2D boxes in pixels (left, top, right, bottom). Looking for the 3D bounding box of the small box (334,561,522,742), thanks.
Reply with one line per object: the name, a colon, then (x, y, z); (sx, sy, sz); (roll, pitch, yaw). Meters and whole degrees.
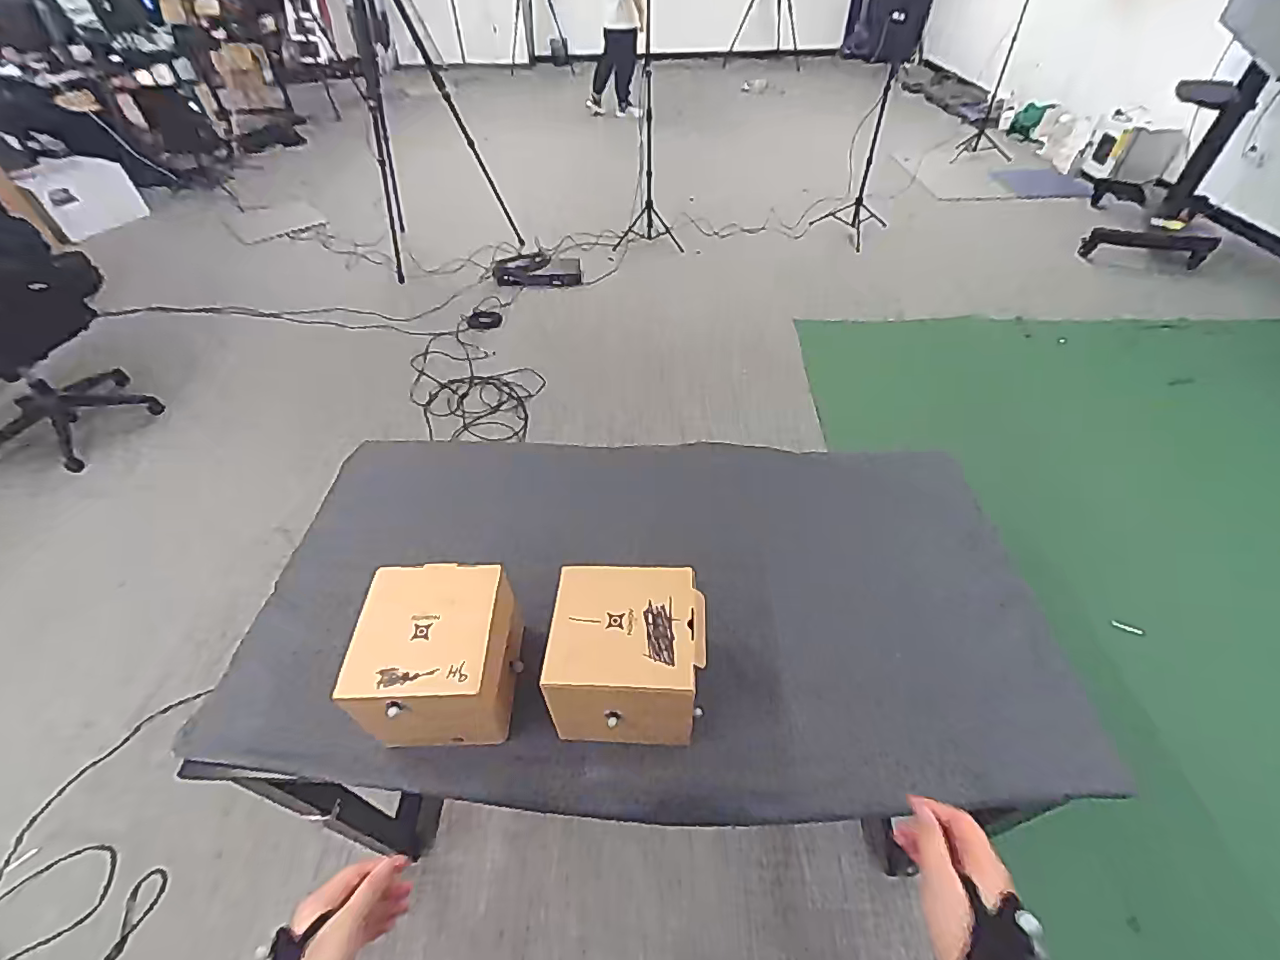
small box: (-0.260, 0.227, 0.717); (0.168, 0.176, 0.179); (-2, 46, 1)
